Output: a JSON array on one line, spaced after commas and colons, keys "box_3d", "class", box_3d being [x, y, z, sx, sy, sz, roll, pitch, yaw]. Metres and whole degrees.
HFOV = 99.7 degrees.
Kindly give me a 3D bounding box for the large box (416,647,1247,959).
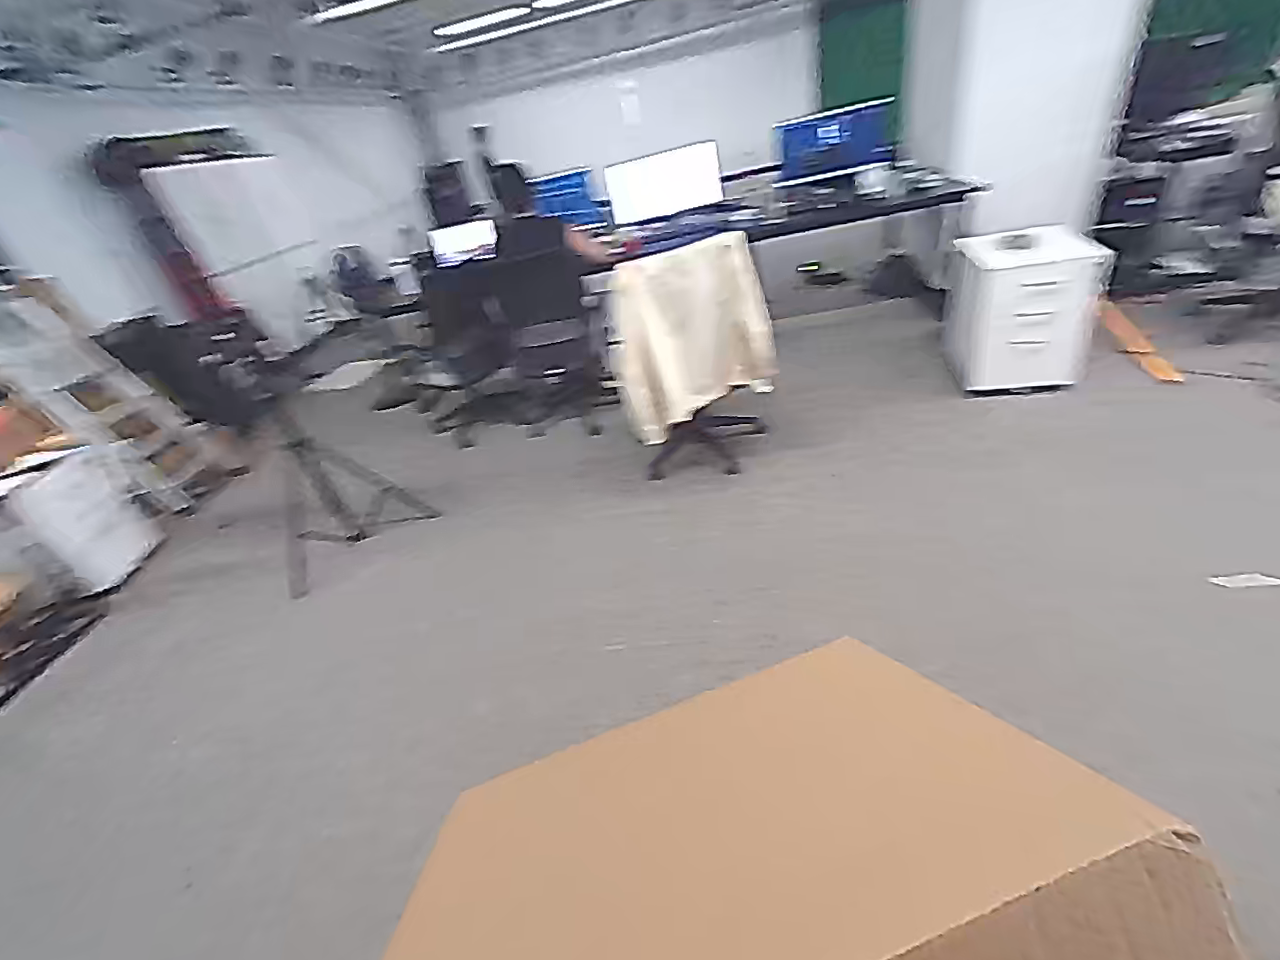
[{"box_3d": [0.097, 0.363, 0.371, 0.408, 0.320, 0.320, -20, 0, -3], "class": "large box"}]
